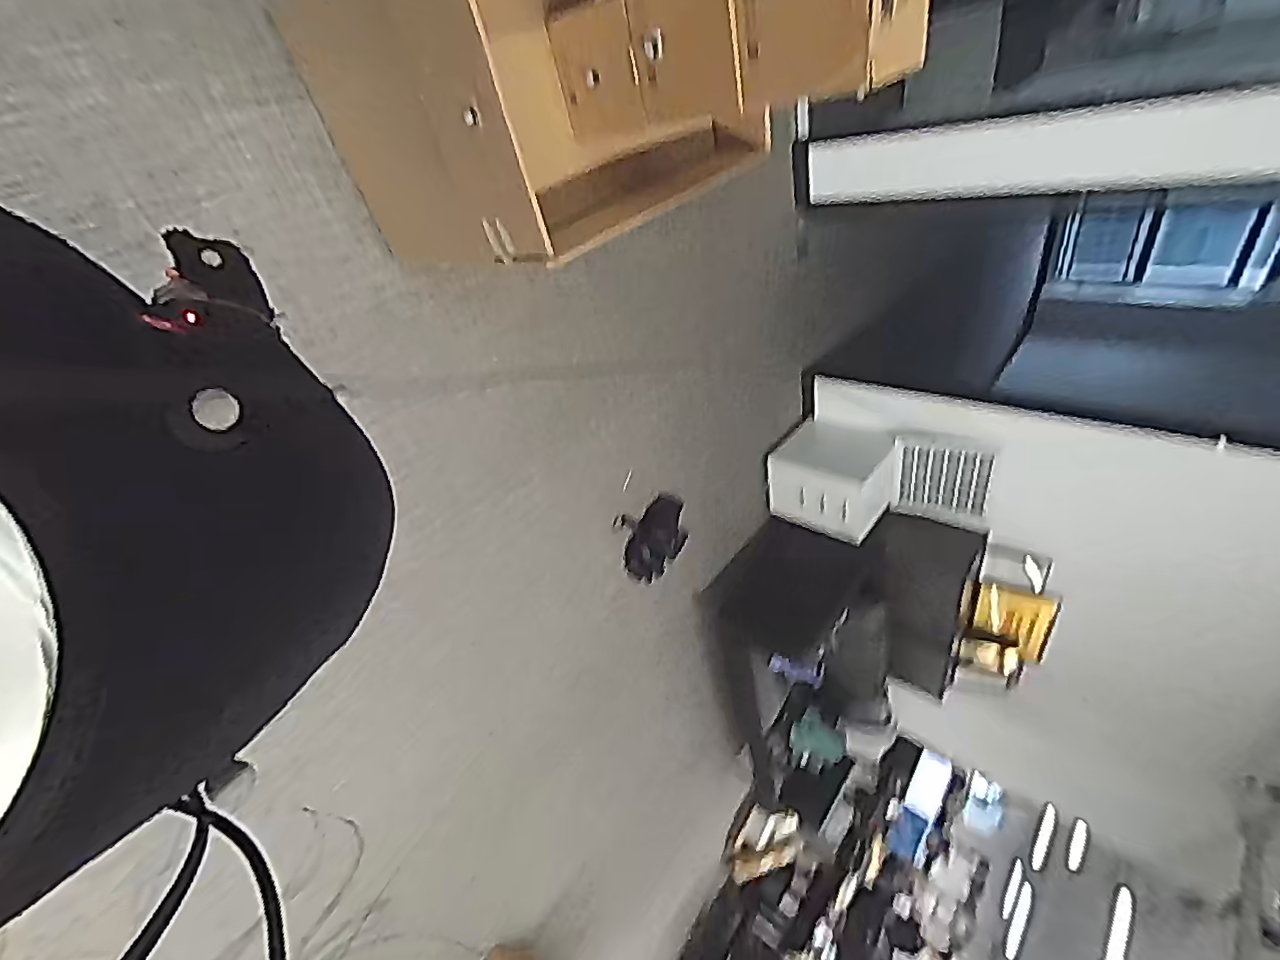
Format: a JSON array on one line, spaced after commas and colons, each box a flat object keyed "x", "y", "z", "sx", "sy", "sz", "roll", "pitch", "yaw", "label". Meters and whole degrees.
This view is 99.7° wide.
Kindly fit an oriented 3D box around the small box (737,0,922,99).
[{"x": 0.229, "y": -0.588, "z": 0.660, "sx": 0.179, "sy": 0.176, "sz": 0.168, "roll": -43, "pitch": 135, "yaw": -32, "label": "small box"}]

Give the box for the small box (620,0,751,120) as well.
[{"x": 0.101, "y": -0.629, "z": 0.754, "sx": 0.179, "sy": 0.176, "sz": 0.168, "roll": -44, "pitch": 135, "yaw": -28, "label": "small box"}]
